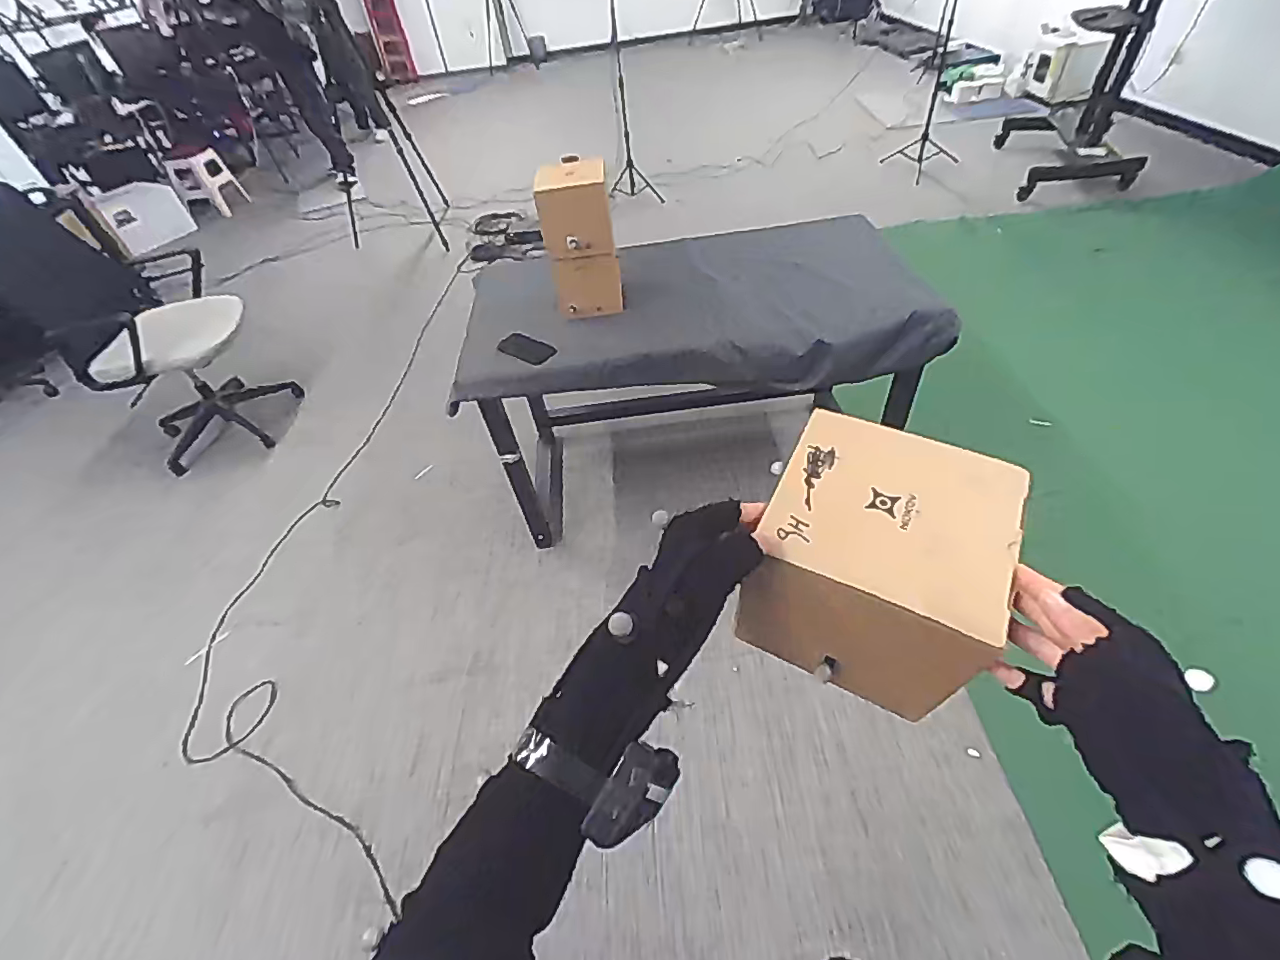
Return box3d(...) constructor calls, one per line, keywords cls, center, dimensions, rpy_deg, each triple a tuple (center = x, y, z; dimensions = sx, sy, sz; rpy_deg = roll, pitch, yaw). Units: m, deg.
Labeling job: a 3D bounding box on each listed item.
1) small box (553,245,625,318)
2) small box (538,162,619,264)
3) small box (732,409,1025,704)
box3d(cls="small box", center=(-0.131, -0.548, 1.449), dimensions=(0.168, 0.176, 0.179), rpy_deg=(-6, 45, 2))
box3d(cls="small box", center=(-0.145, -0.655, 1.328), dimensions=(0.168, 0.176, 0.179), rpy_deg=(-7, 47, 2))
box3d(cls="small box", center=(0.196, 0.072, 0.478), dimensions=(0.179, 0.176, 0.168), rpy_deg=(21, 54, 19))
